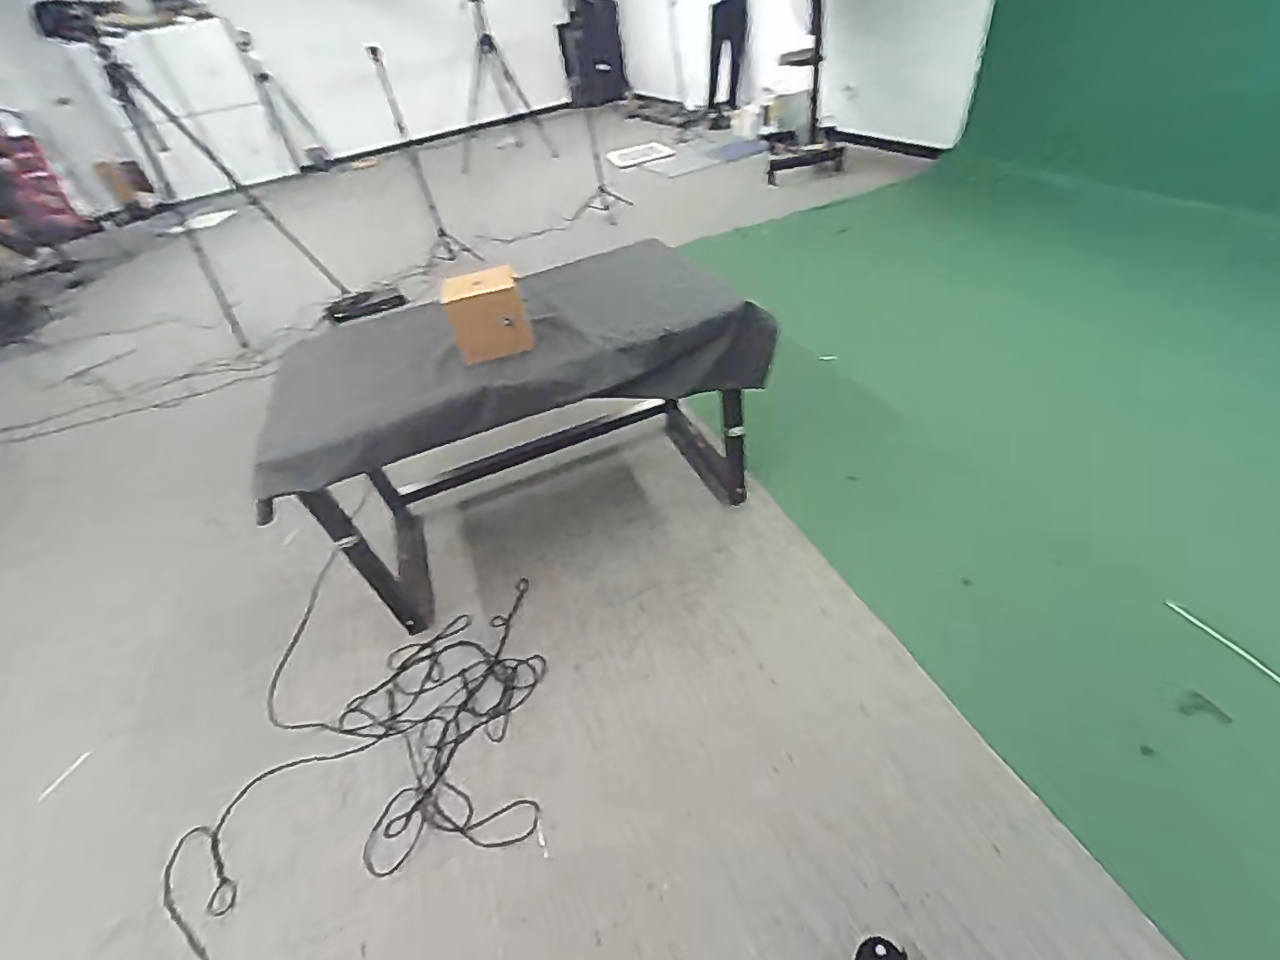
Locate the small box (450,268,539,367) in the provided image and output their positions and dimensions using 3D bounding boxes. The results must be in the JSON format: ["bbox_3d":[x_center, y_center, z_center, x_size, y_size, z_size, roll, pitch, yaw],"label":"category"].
[{"bbox_3d":[-0.360,-0.409,1.366,0.179,0.176,0.168,-16,40,-3],"label":"small box"}]
